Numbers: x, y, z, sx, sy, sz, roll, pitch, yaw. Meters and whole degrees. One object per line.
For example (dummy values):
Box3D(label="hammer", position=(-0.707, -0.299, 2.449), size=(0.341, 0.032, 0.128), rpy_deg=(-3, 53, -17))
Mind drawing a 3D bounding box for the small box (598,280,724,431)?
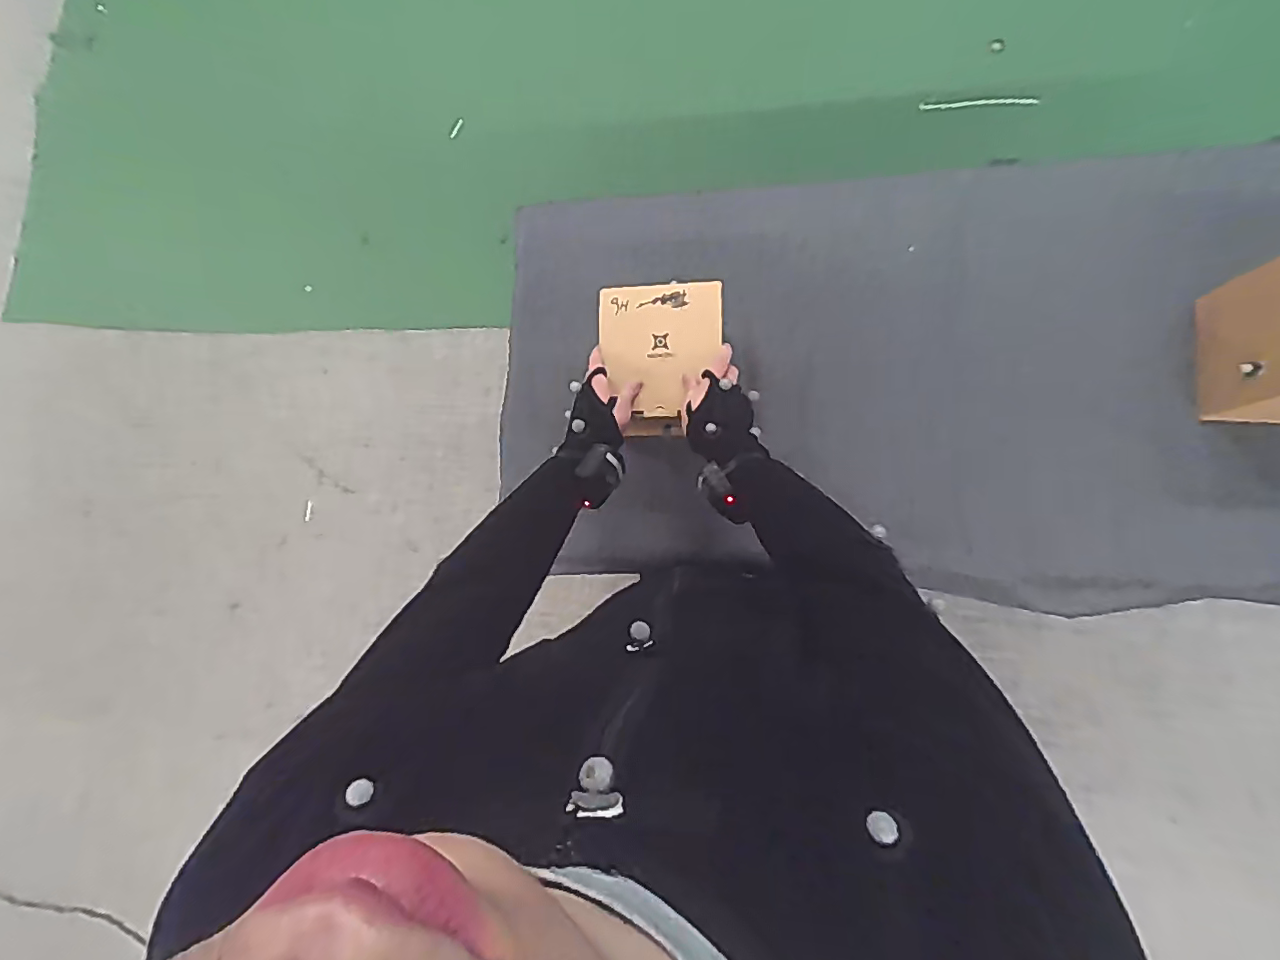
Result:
Box3D(label="small box", position=(0.038, -0.167, 0.785), size=(0.168, 0.176, 0.179), rpy_deg=(-1, 85, 8))

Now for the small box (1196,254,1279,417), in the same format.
Box3D(label="small box", position=(0.834, -0.173, 0.654), size=(0.168, 0.176, 0.179), rpy_deg=(4, 83, 9))
